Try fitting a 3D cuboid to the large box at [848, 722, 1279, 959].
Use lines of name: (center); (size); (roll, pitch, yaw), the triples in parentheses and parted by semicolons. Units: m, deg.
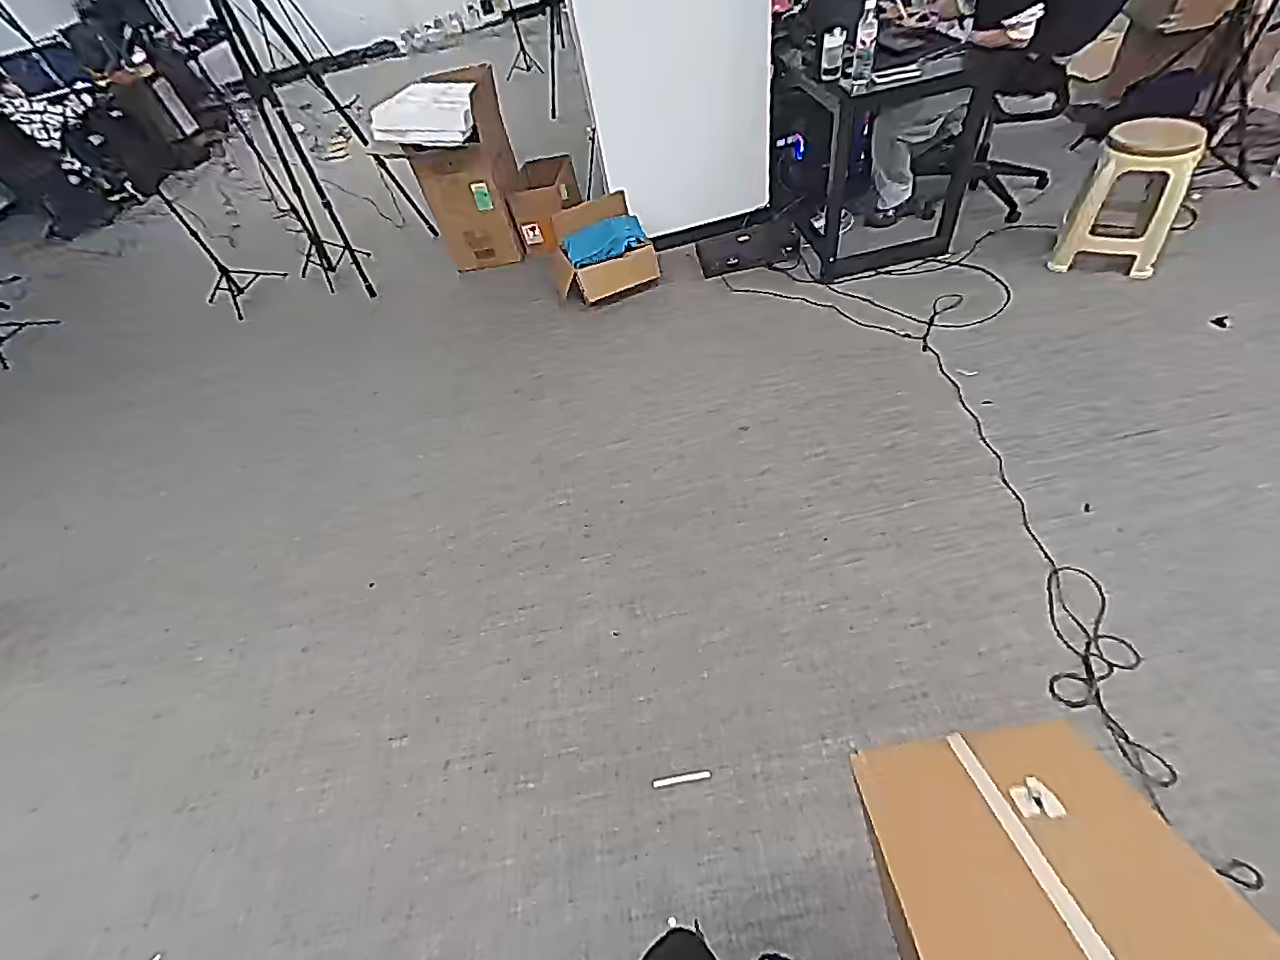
large box: (0.494, 0.580, 0.663); (0.320, 0.320, 0.408); (-13, 10, 9)
